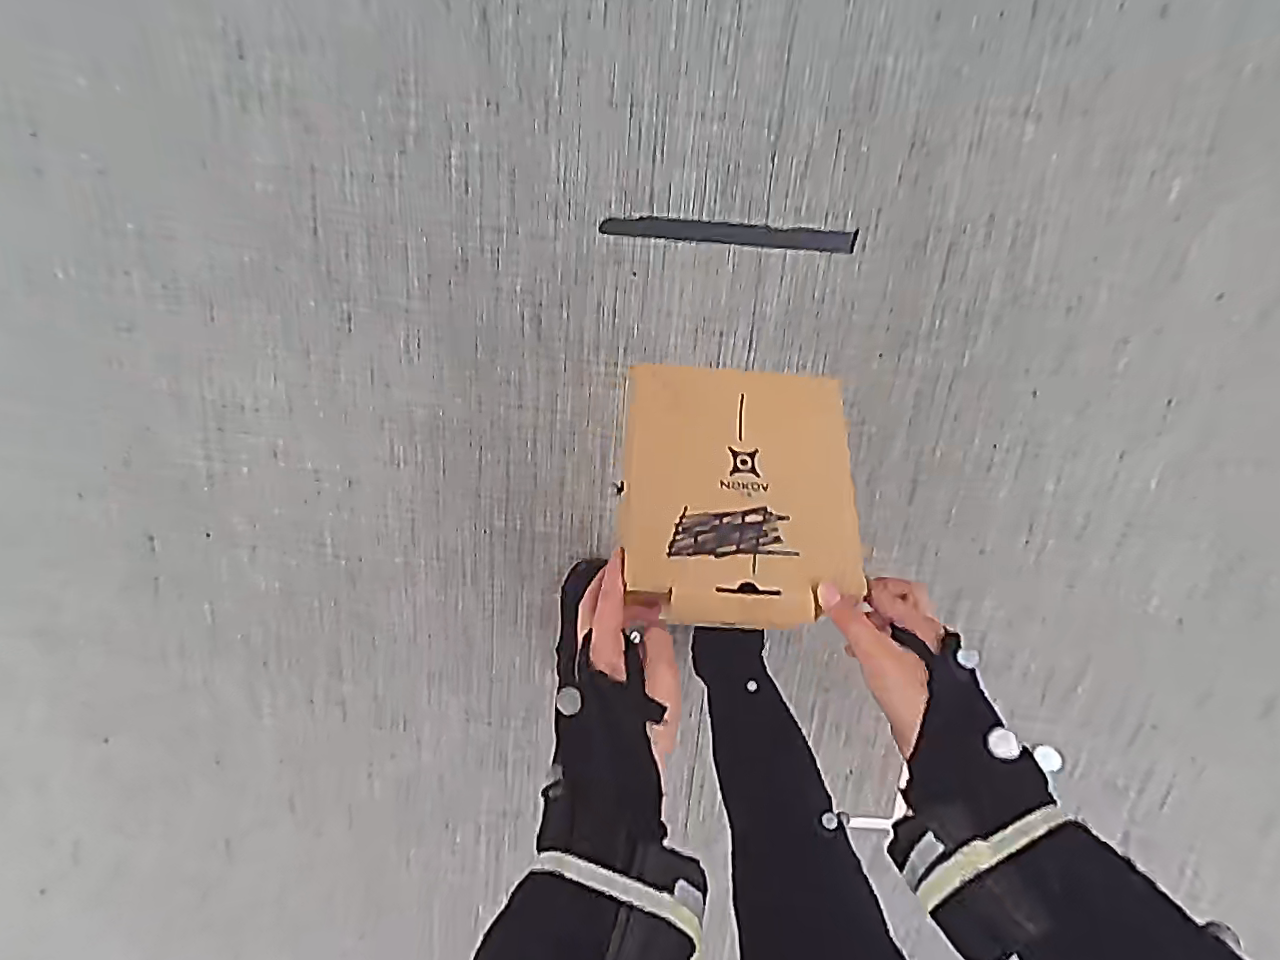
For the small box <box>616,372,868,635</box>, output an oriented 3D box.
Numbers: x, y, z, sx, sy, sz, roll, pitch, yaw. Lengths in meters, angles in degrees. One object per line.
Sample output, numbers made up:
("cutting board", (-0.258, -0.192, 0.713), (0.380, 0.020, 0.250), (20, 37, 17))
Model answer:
("small box", (0.068, 0.033, 0.458), (0.168, 0.176, 0.179), (4, 67, -4))
